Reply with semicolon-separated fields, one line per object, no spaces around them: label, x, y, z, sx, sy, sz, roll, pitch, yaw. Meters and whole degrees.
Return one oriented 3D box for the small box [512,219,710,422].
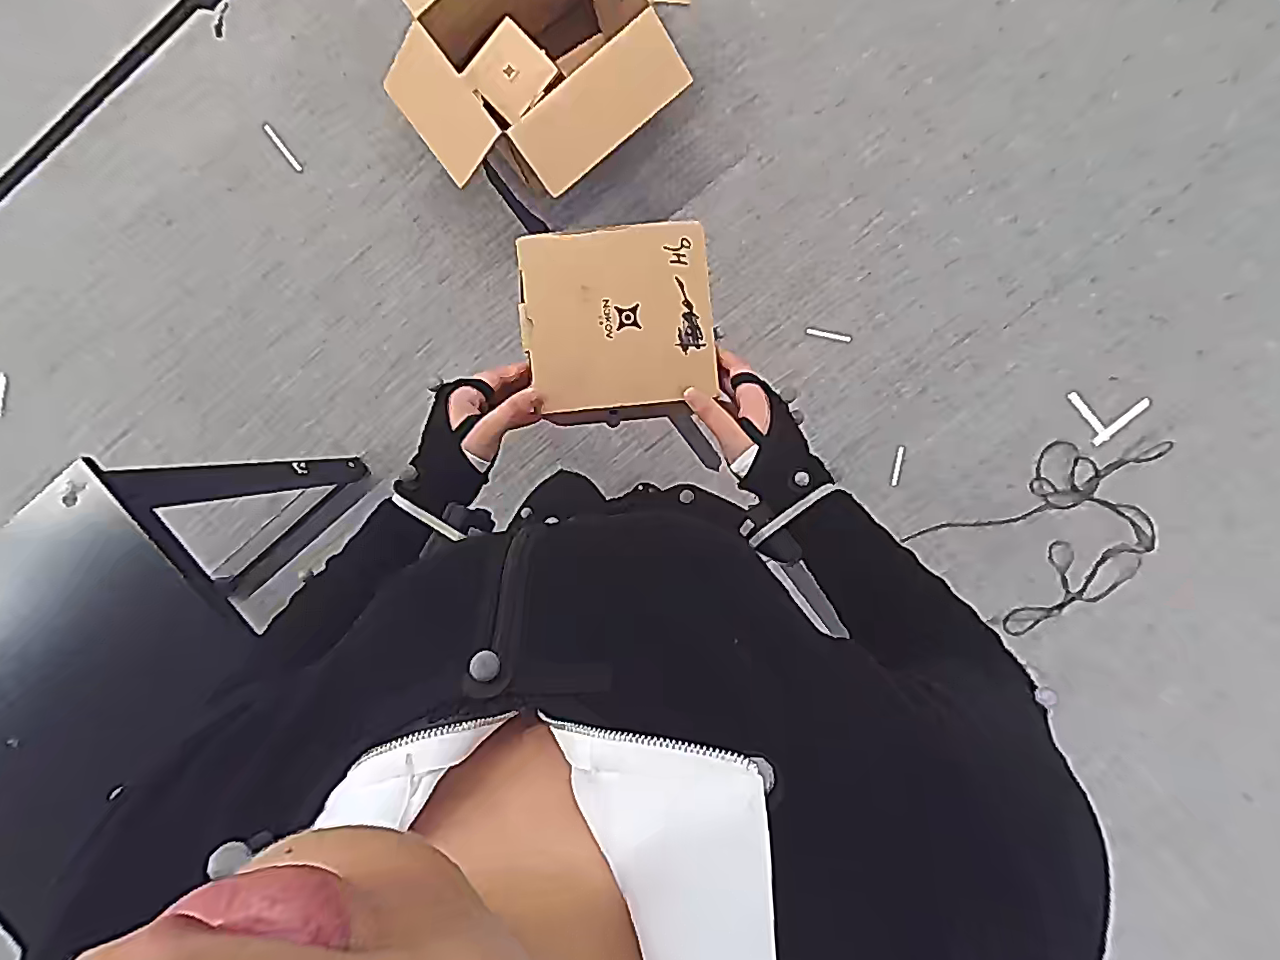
small box;-0.026;-0.156;0.584;0.179;0.176;0.168;-5;92;0

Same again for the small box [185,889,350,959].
small box;-0.556;0.723;0.752;0.168;0.176;0.179;-39;91;5
